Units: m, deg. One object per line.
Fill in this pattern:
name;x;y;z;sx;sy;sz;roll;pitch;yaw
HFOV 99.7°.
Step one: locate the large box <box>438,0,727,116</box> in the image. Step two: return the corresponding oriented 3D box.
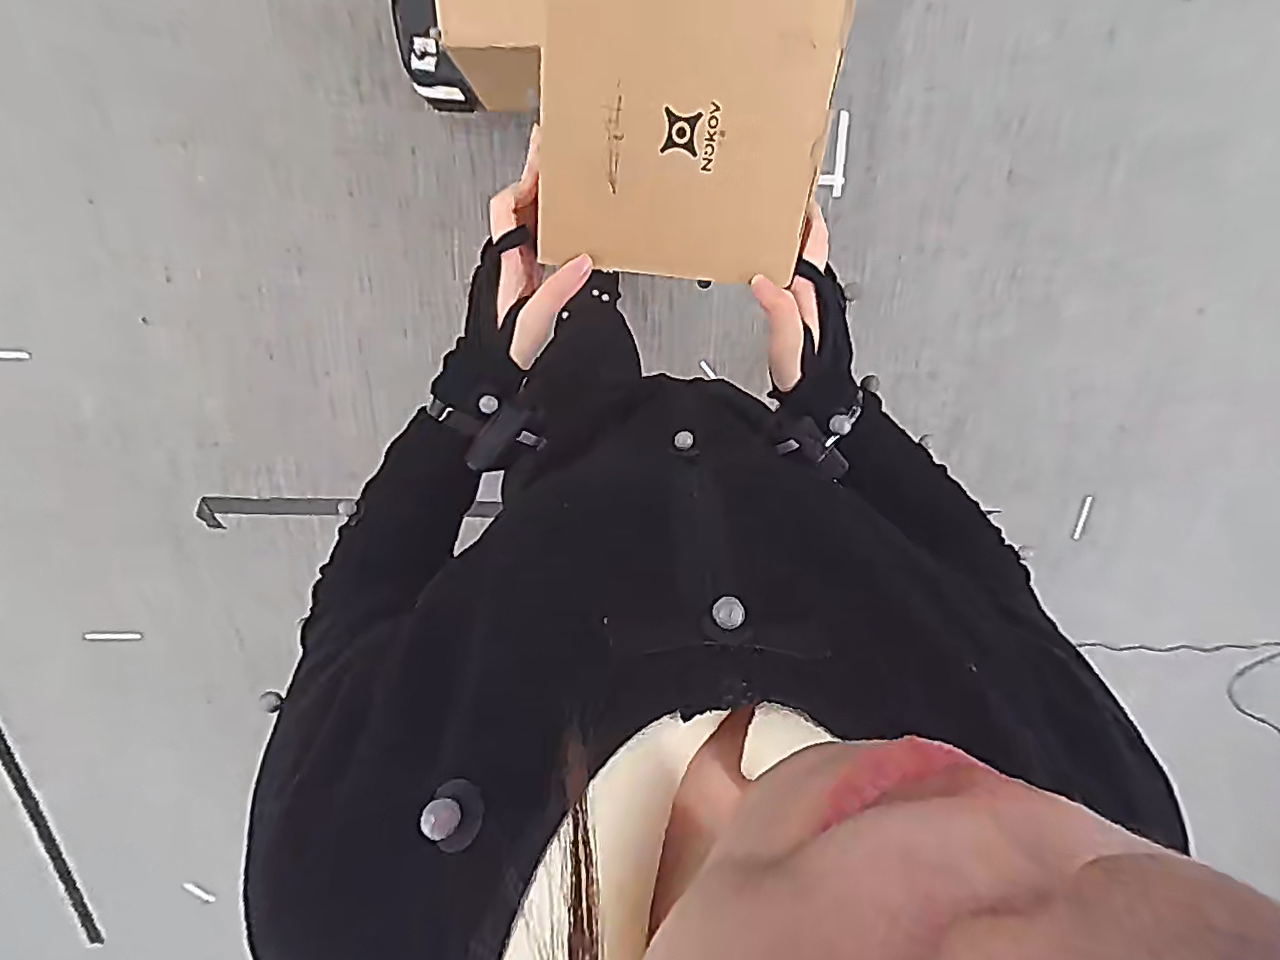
large box;-0.085;-0.797;0.854;0.408;0.320;0.320;-2;109;-2
